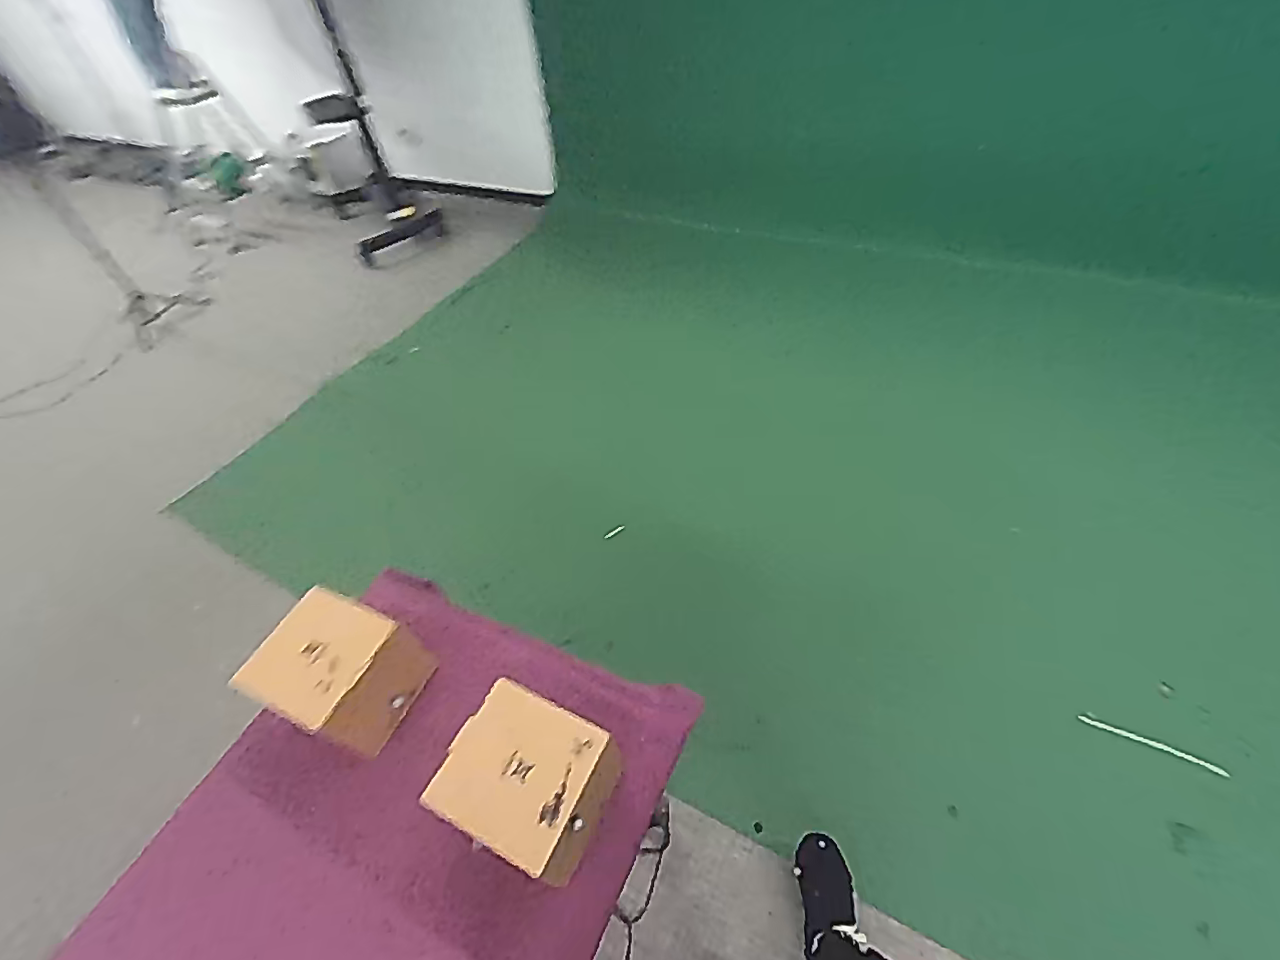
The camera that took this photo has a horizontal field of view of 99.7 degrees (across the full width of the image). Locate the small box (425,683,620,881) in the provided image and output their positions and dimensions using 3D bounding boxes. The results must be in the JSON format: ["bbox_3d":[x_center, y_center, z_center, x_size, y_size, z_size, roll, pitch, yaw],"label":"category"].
[{"bbox_3d":[-0.146,0.414,0.736,0.179,0.176,0.168,18,55,21],"label":"small box"}]

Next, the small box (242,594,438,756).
[{"bbox_3d":[-0.463,0.315,0.862,0.179,0.176,0.168,17,56,19],"label":"small box"}]
